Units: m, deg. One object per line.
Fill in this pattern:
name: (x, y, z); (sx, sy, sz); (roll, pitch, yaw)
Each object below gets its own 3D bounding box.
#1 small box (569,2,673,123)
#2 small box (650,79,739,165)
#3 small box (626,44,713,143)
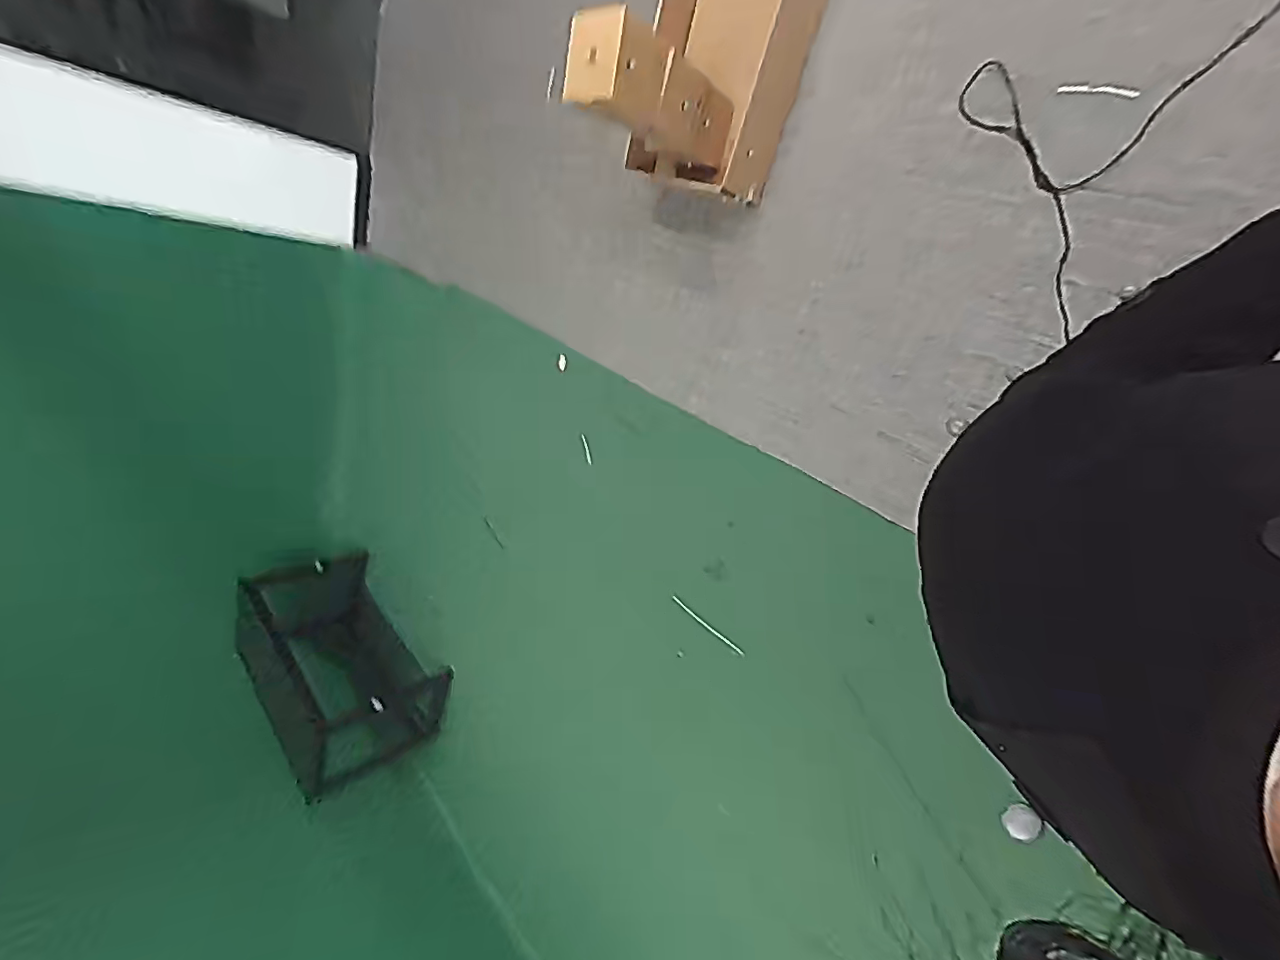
small box: (-0.042, -0.983, 1.289); (0.168, 0.176, 0.179); (24, 112, 34)
small box: (0.160, -1.022, 1.542); (0.168, 0.176, 0.179); (28, 113, 33)
small box: (0.064, -1.005, 1.410); (0.179, 0.176, 0.168); (32, 116, 31)
